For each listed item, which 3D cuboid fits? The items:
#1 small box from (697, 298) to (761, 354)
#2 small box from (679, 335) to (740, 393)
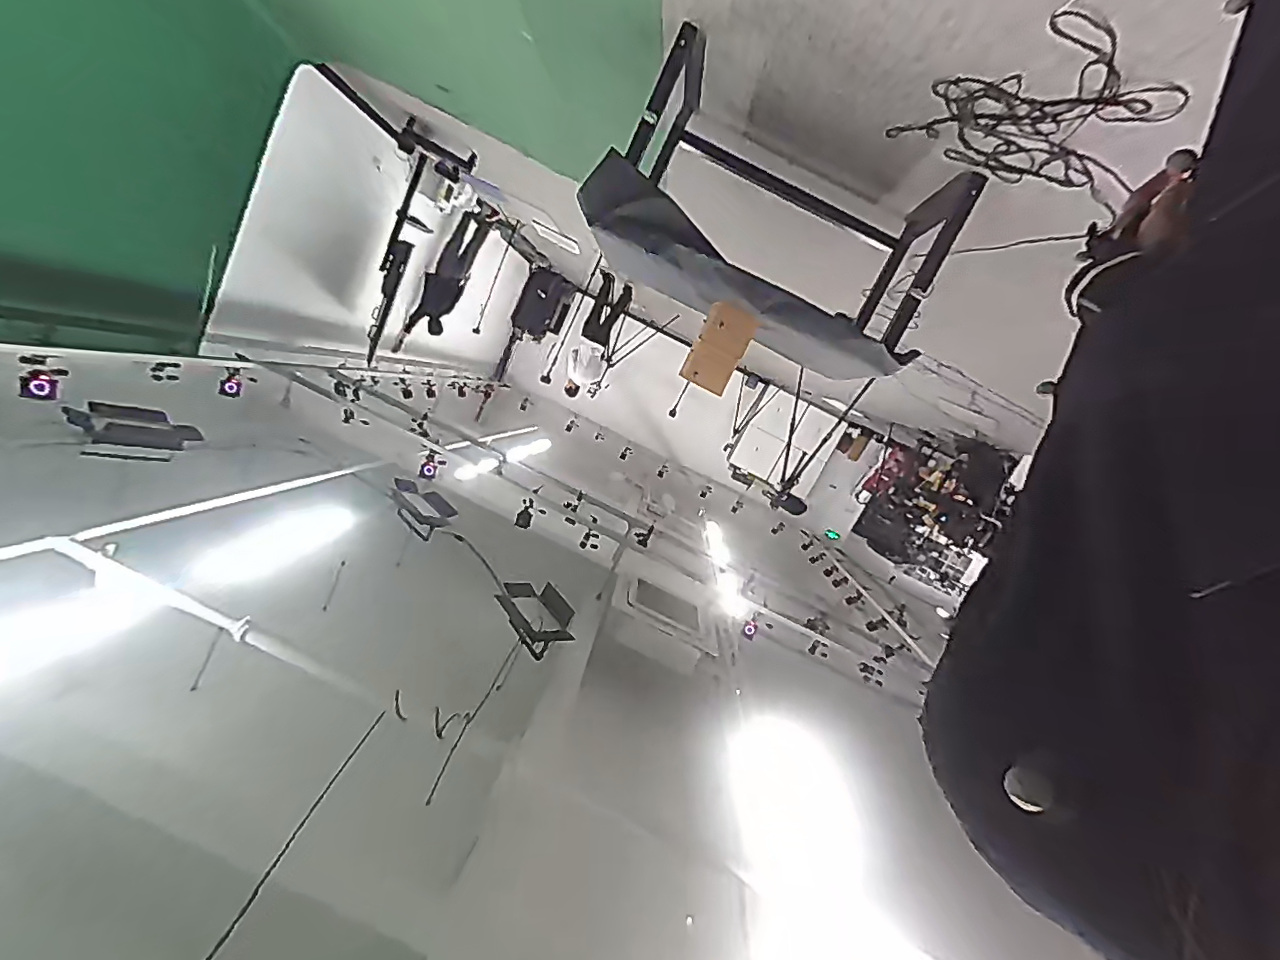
[{"bbox_3d":[0.351,-0.614,2.146,0.179,0.176,0.168,24,-168,-9],"label":"small box"},{"bbox_3d":[0.280,-0.471,2.180,0.179,0.176,0.168,25,-169,-10],"label":"small box"}]
